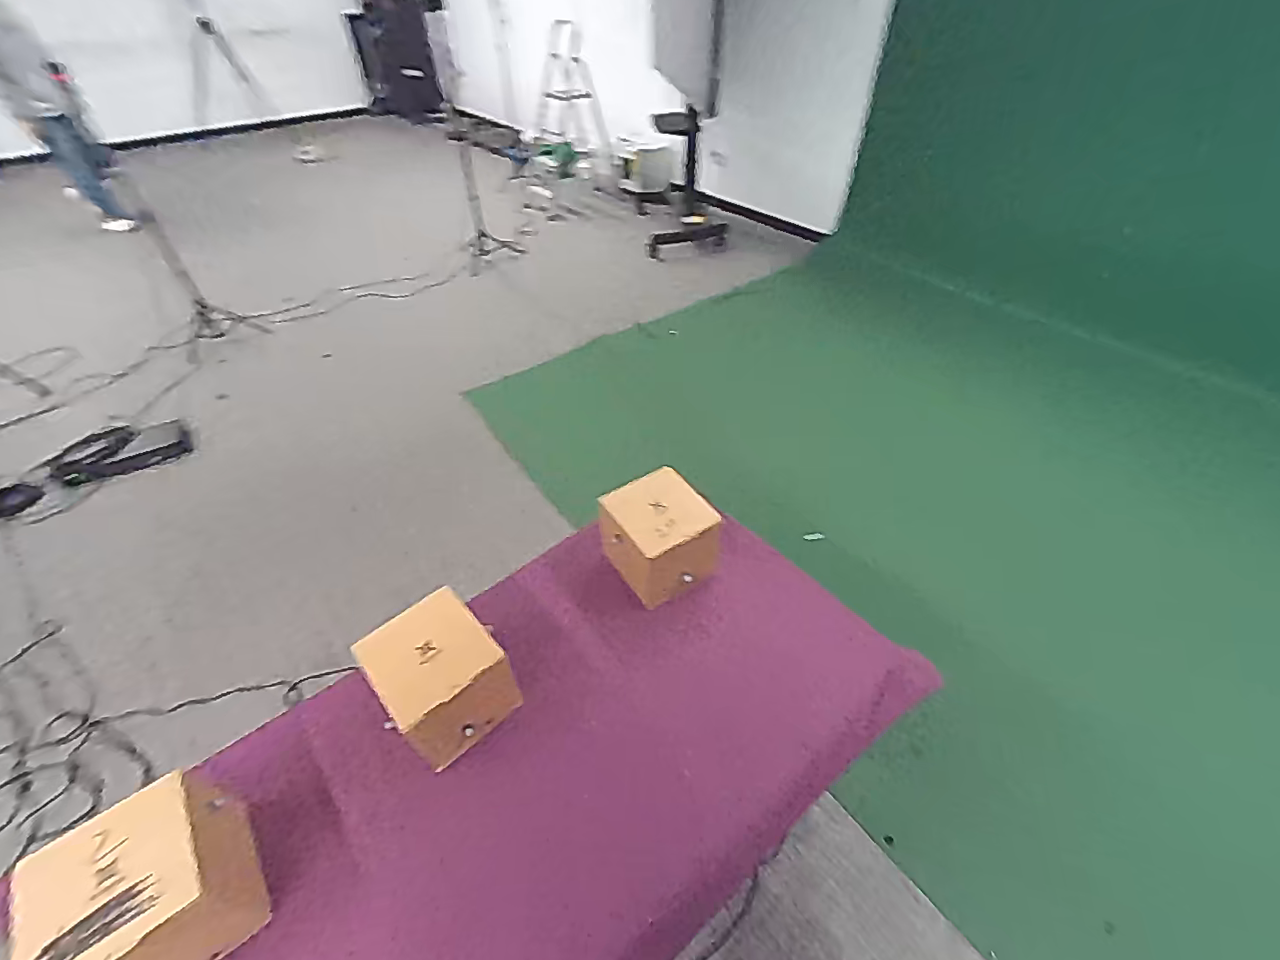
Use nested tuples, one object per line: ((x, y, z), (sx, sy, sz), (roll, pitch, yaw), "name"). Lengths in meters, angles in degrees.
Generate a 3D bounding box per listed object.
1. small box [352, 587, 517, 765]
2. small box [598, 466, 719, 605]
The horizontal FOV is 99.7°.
((-0.319, 0.313, 0.864), (0.168, 0.176, 0.179), (-34, 55, -30), "small box")
((0.032, 0.109, 1.062), (0.168, 0.176, 0.179), (-26, 51, -22), "small box")
